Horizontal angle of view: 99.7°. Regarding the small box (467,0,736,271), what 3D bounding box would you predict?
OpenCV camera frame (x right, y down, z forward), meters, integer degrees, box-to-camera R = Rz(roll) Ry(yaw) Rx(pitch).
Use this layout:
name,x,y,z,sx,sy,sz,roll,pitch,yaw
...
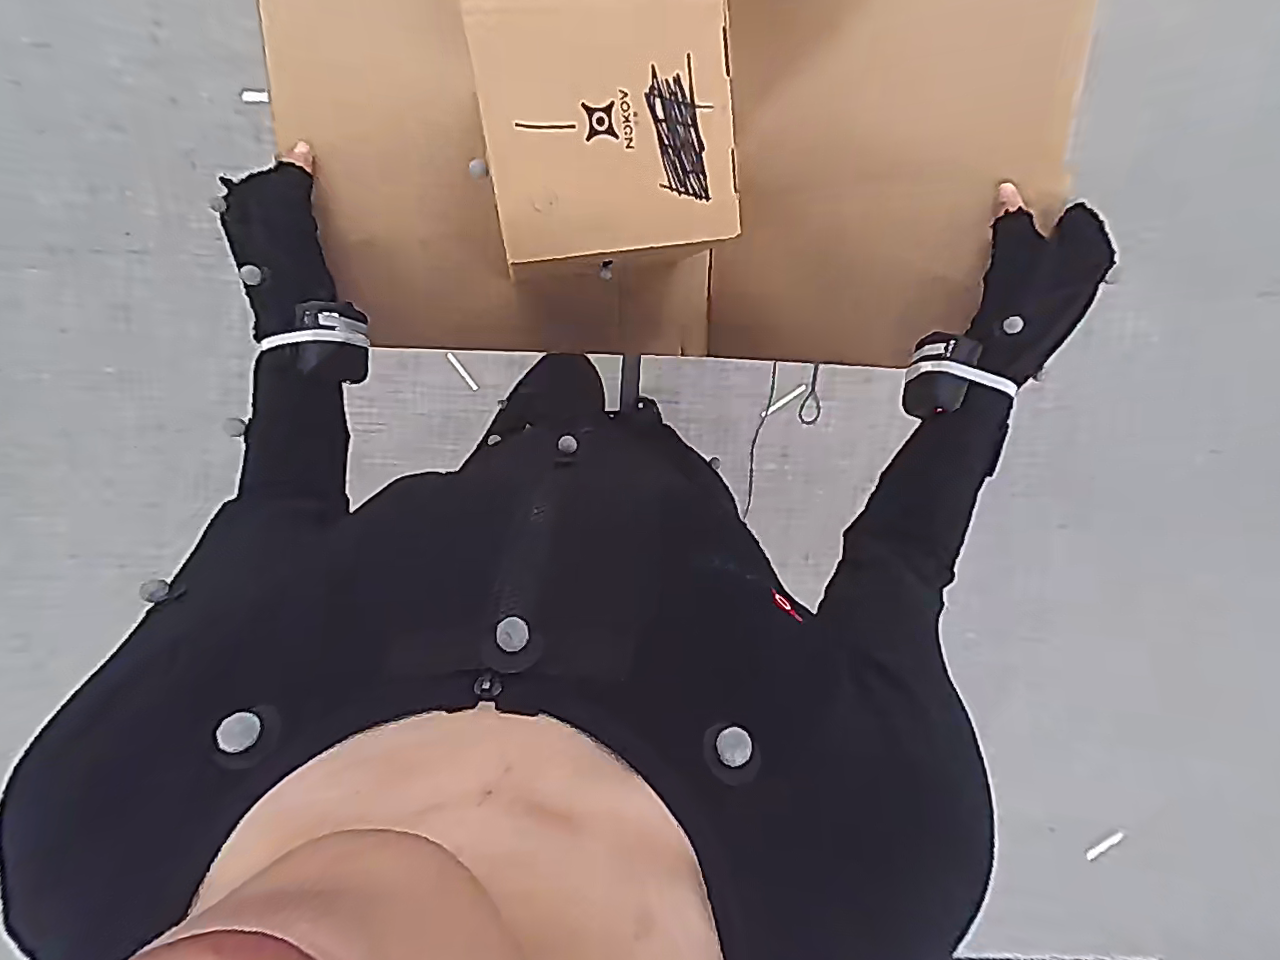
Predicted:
name,x,y,z,sx,sy,sz,roll,pitch,yaw
small box,-0.035,-0.277,0.455,0.179,0.176,0.168,-10,107,-8
